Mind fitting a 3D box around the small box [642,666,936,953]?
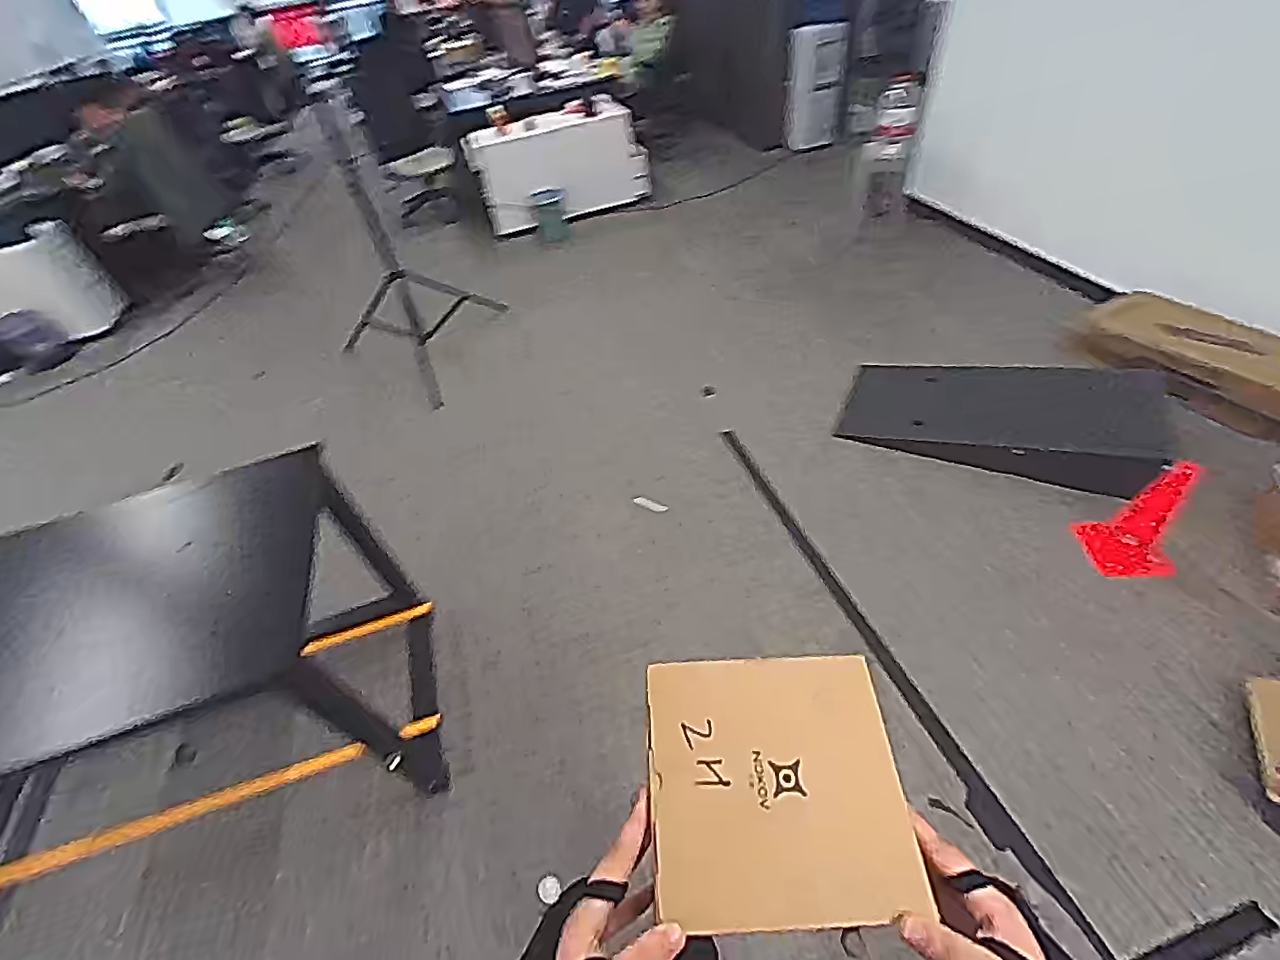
[{"bbox_3d":[0.092,0.260,0.436,0.179,0.176,0.168,-3,53,-1],"label":"small box"}]
